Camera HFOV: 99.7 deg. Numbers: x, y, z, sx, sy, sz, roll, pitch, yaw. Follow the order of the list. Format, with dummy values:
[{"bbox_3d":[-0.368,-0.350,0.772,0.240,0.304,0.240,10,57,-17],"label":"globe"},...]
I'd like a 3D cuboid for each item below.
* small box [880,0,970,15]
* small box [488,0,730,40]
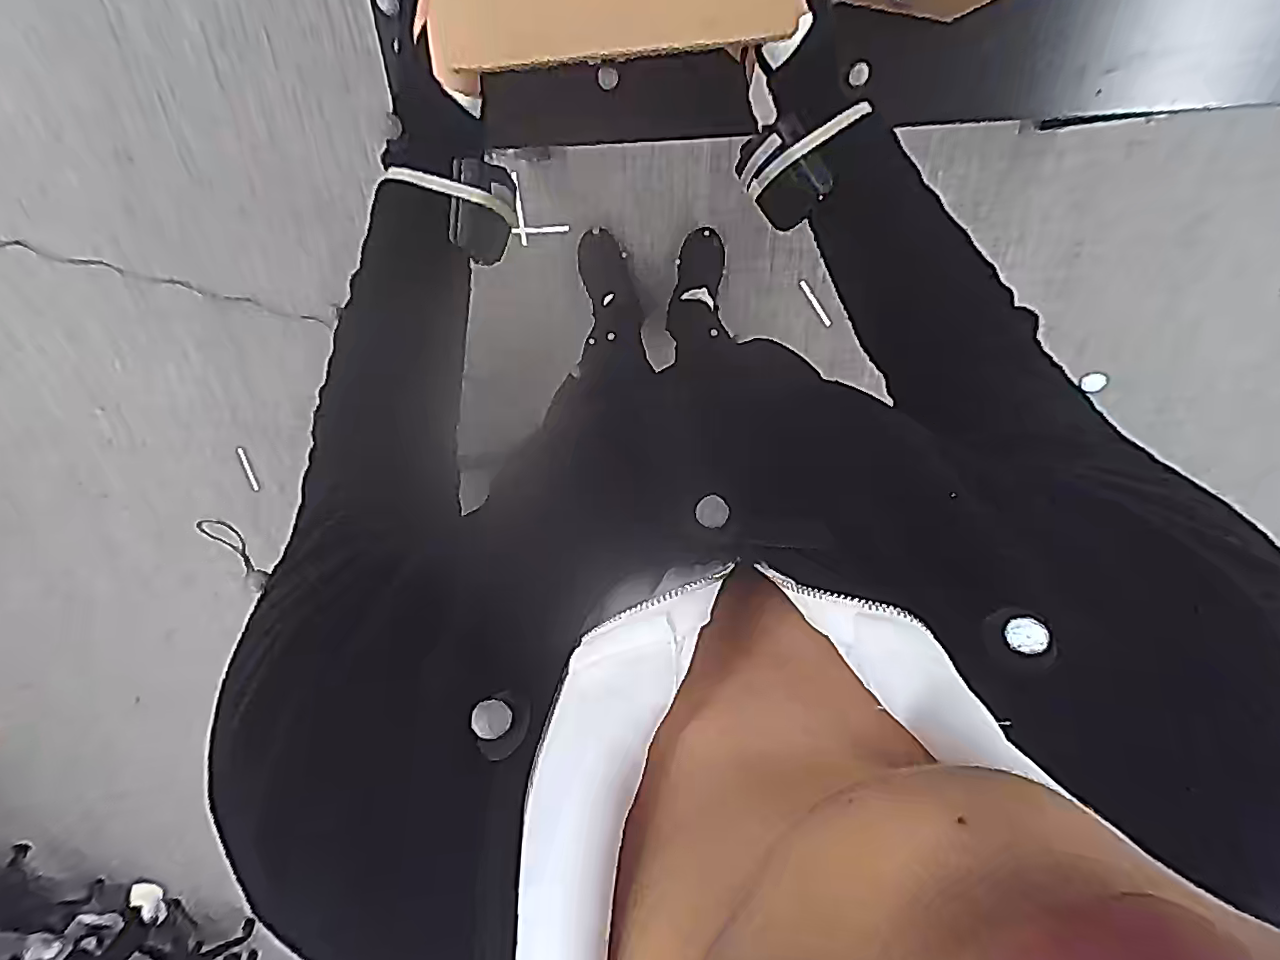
[{"bbox_3d":[0.234,-0.497,0.414,0.168,0.176,0.179,6,117,-5],"label":"small box"},{"bbox_3d":[-0.022,-0.444,0.409,0.179,0.176,0.168,0,127,-2],"label":"small box"}]
